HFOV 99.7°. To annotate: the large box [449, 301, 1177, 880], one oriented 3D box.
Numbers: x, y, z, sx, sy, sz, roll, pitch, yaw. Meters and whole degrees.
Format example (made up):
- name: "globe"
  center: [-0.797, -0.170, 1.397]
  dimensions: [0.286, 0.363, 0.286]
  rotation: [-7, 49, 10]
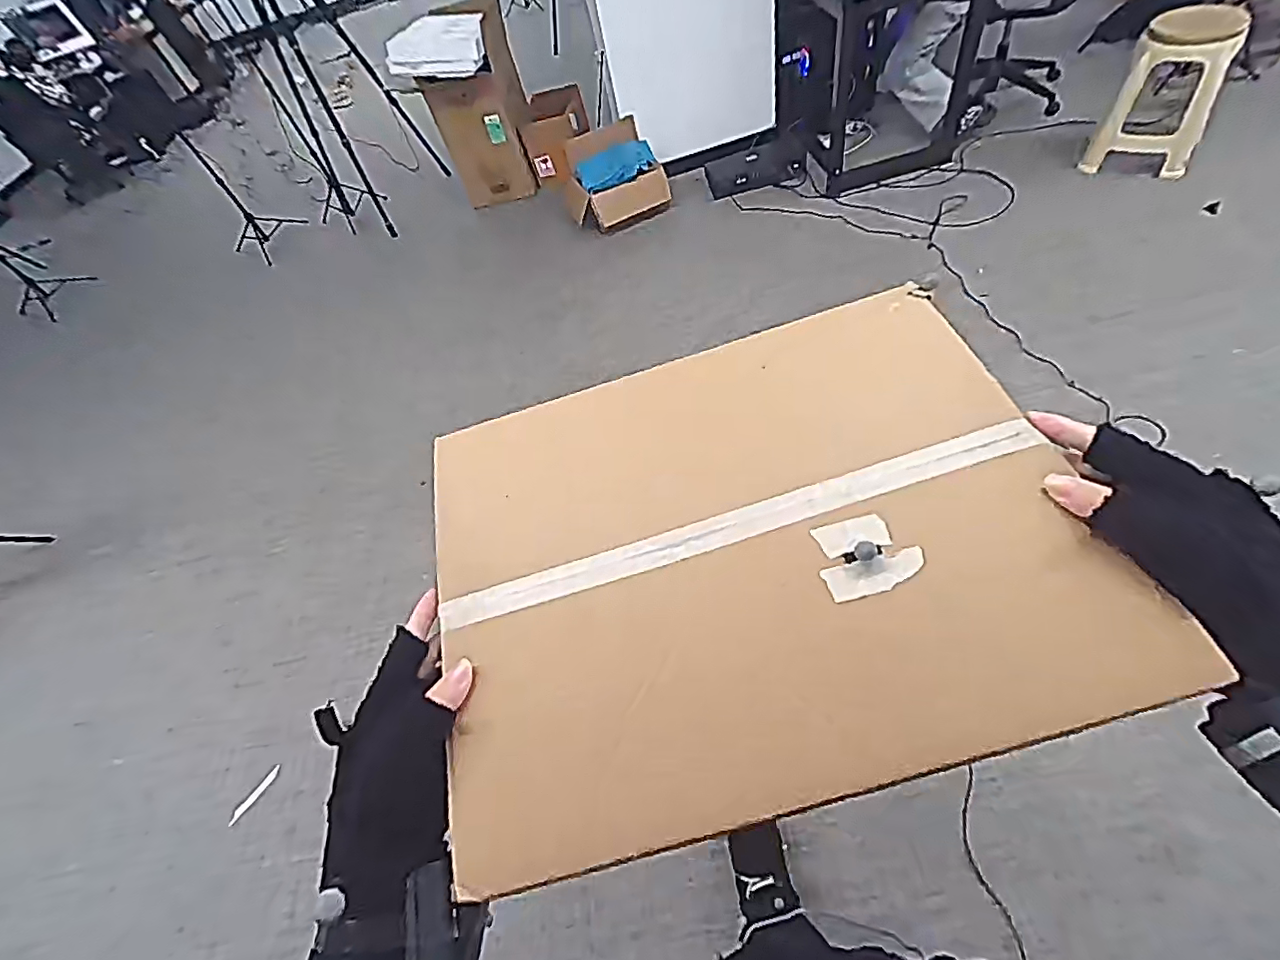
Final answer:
- name: "large box"
  center: [0.089, 0.111, 0.495]
  dimensions: [0.408, 0.320, 0.320]
  rotation: [-18, 58, 2]
